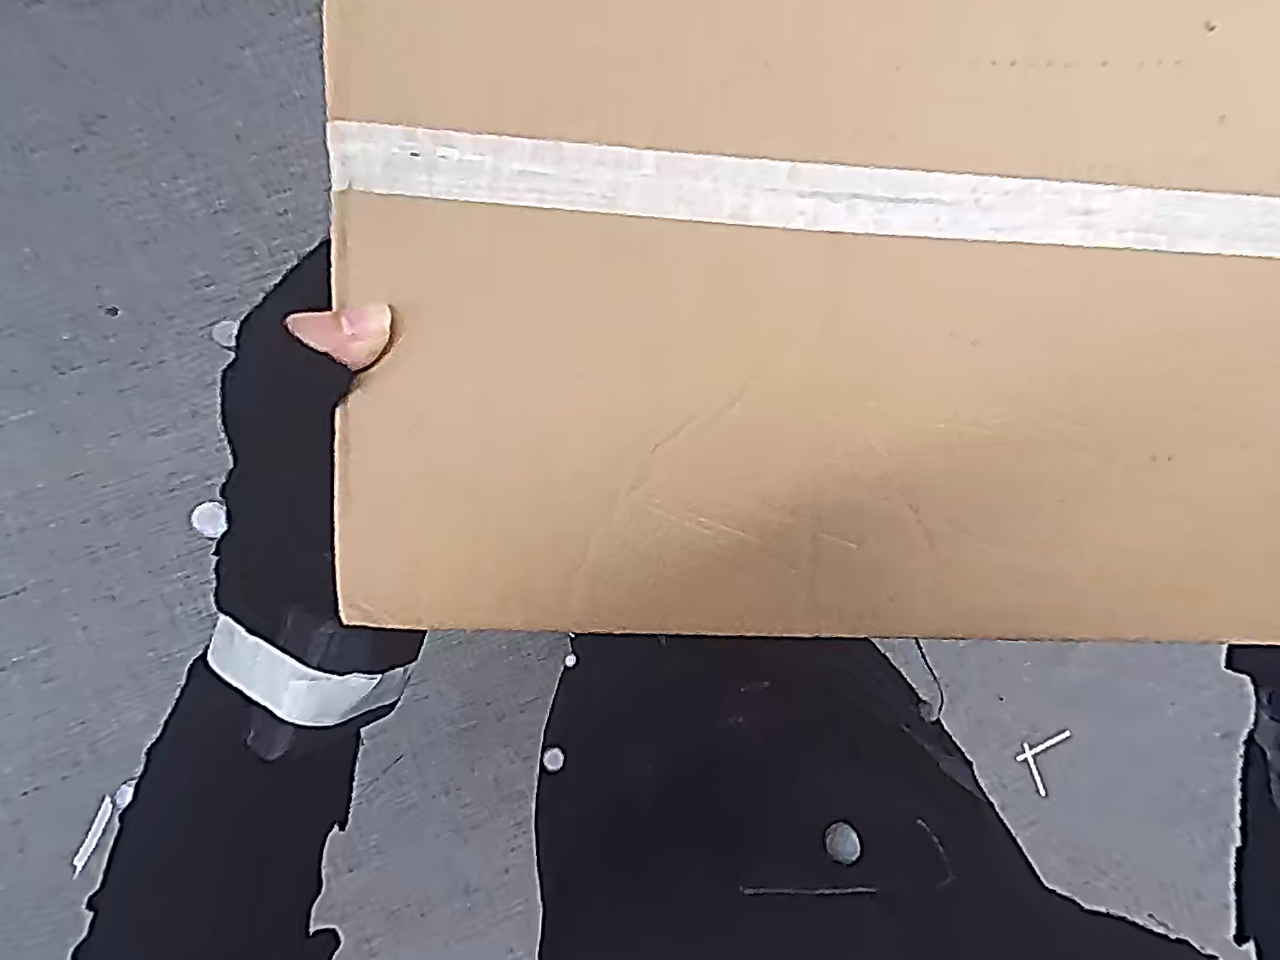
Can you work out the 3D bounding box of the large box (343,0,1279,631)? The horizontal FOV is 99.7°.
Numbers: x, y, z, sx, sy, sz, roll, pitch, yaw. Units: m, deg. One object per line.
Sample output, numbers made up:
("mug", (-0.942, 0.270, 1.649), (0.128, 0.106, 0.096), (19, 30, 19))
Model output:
("large box", (0.087, -0.110, 0.348), (0.408, 0.320, 0.320), (2, 96, -4))
